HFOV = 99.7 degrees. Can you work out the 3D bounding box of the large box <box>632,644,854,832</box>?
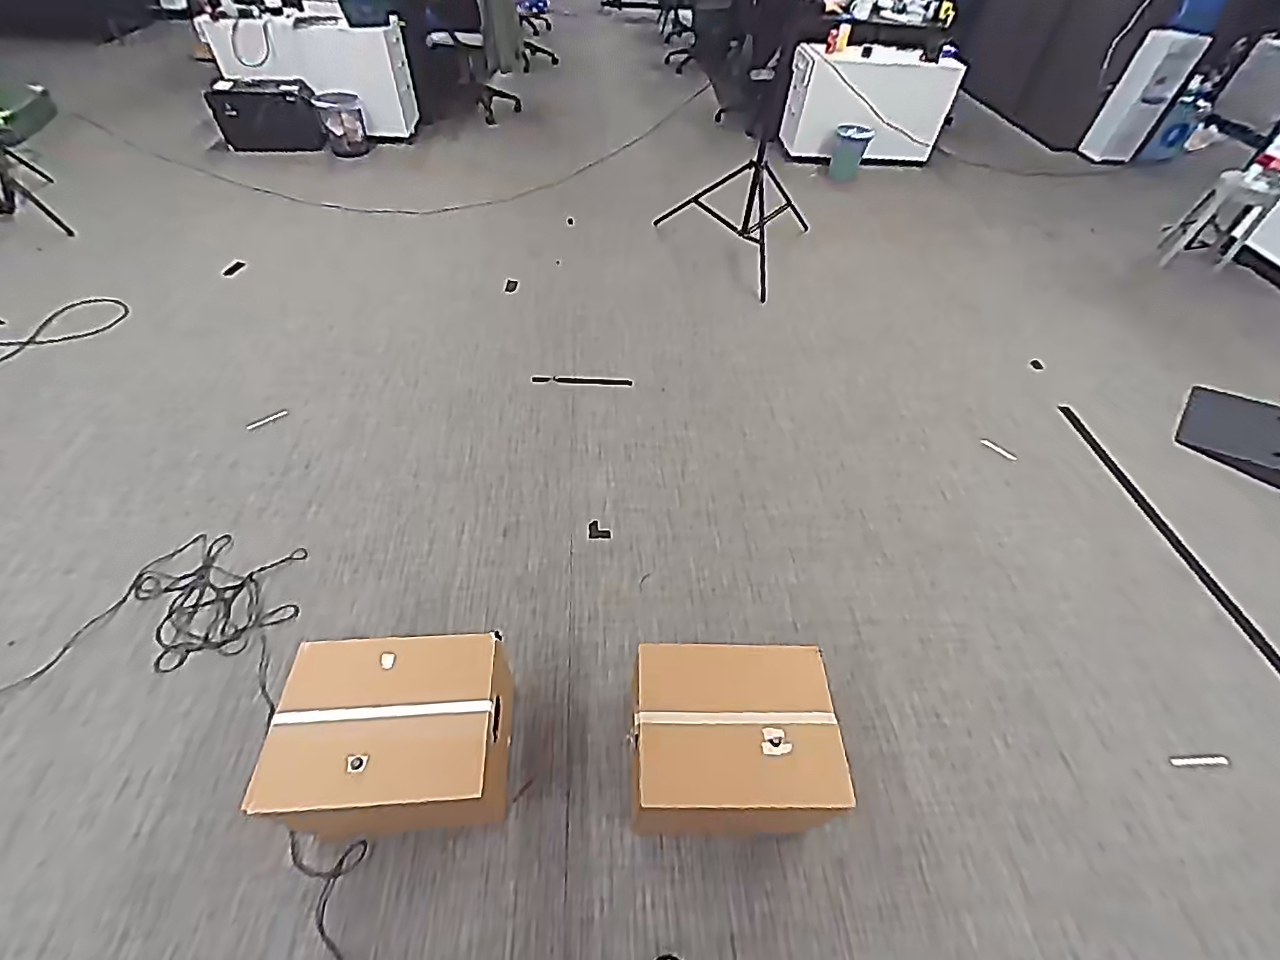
[{"bbox_3d":[0.191,0.578,1.208,0.408,0.320,0.320,2,50,-4],"label":"large box"}]
